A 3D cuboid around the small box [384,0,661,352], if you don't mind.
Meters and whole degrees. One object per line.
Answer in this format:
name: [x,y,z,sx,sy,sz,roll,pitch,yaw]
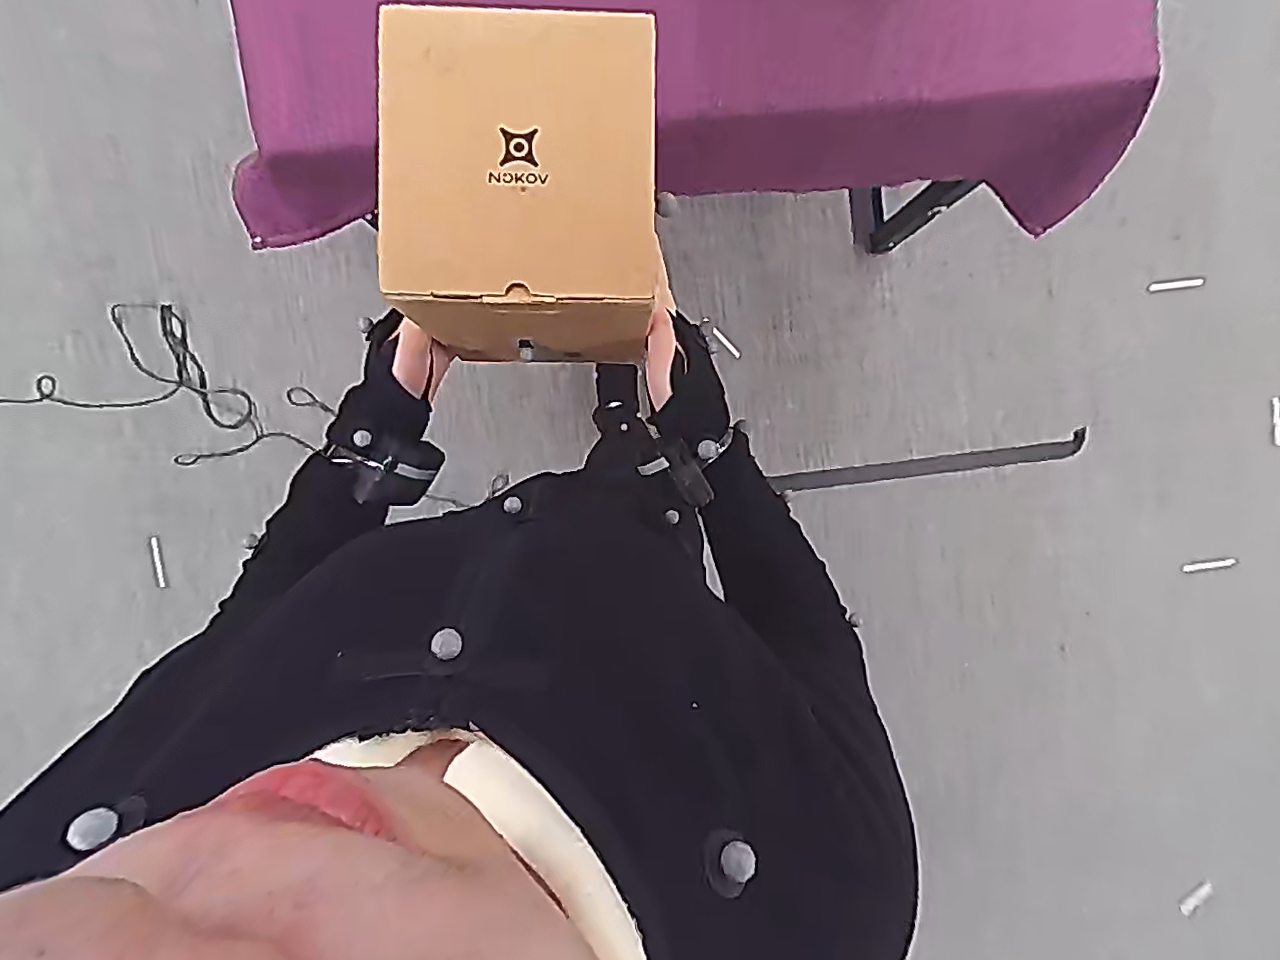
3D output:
small box: [-0.074,-0.203,0.404,0.168,0.176,0.179,0,91,-3]
